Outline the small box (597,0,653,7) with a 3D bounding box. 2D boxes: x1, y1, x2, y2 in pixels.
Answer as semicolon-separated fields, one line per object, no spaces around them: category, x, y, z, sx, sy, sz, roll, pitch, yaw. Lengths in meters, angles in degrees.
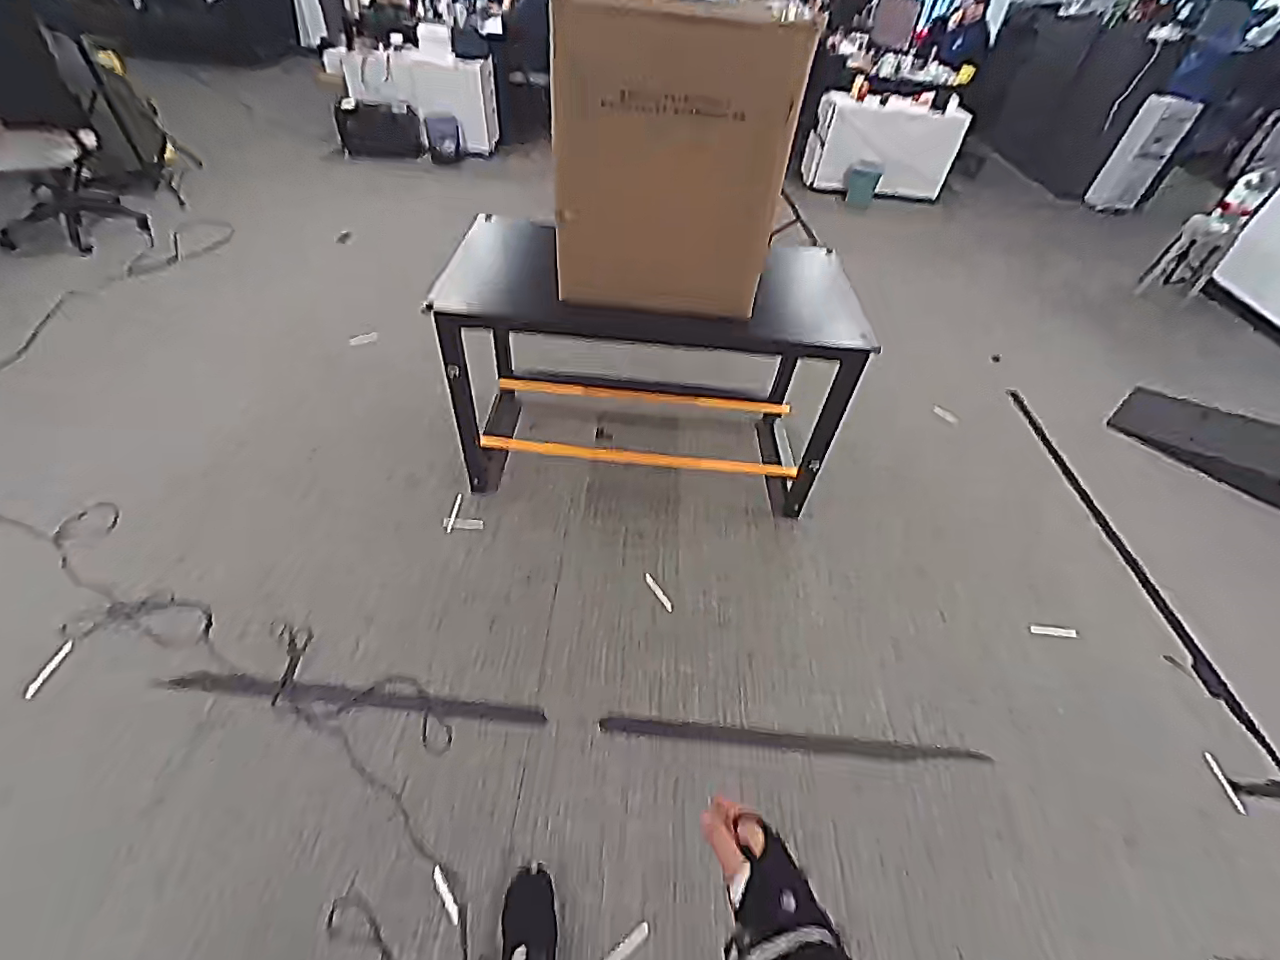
small box;-0.051;-1.084;1.090;0.168;0.176;0.179;1;49;-5
